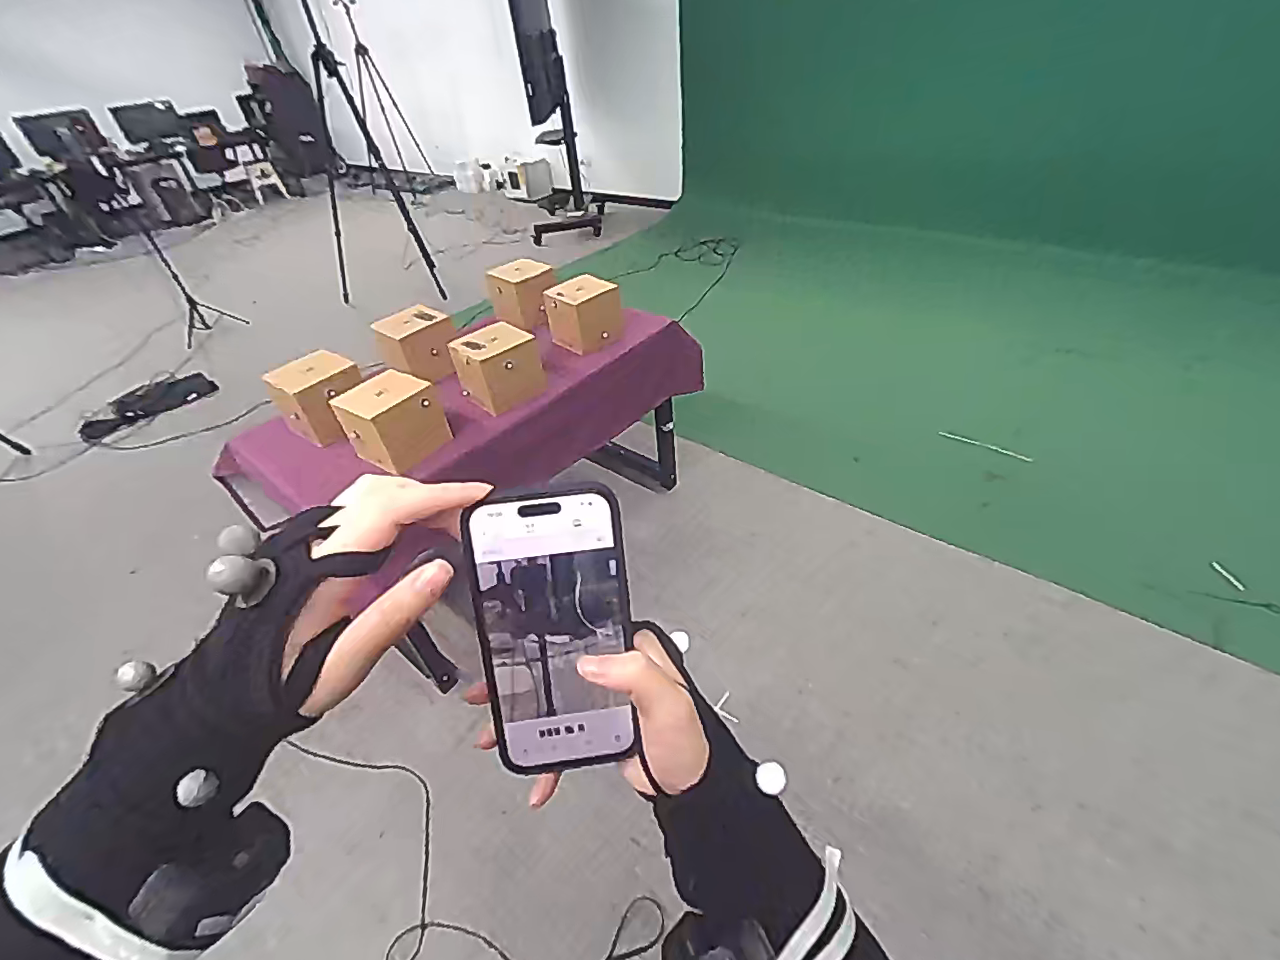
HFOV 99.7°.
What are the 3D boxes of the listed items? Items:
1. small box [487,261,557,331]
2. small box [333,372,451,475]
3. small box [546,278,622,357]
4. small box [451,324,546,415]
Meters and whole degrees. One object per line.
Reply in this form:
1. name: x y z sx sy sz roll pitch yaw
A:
1. small box: -0.399 -0.637 1.874 0.179 0.176 0.168 30 52 34
2. small box: -0.593 -0.138 1.315 0.168 0.176 0.179 21 46 28
3. small box: -0.170 -0.511 1.700 0.179 0.176 0.168 -33 47 -29
4. small box: -0.381 -0.300 1.479 0.179 0.176 0.168 -34 48 -30
